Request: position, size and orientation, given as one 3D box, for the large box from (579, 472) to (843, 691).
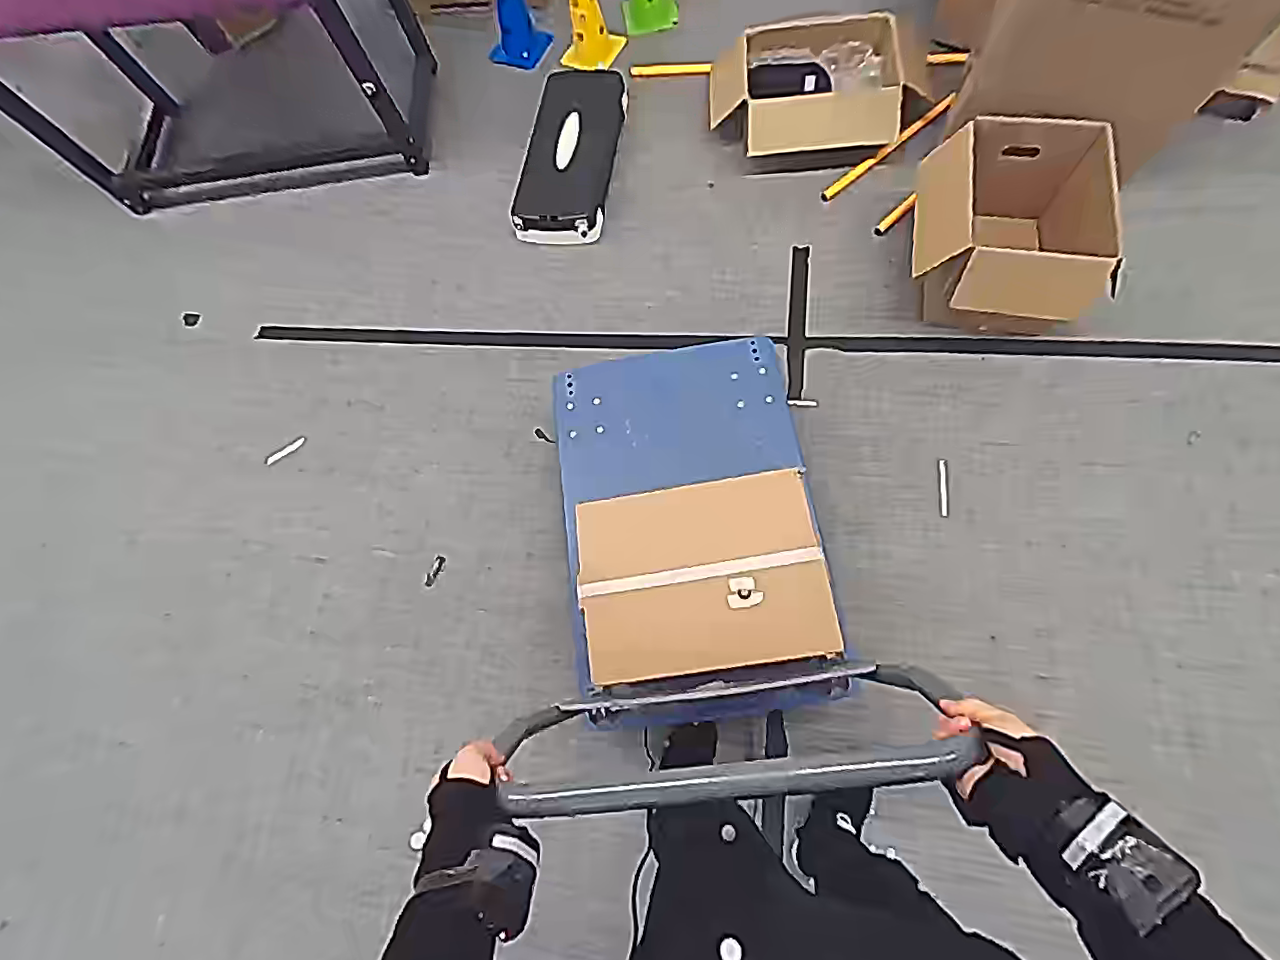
[{"bbox_3d":[0.123,0.213,1.053,0.408,0.320,0.320,-10,70,4],"label":"large box"}]
